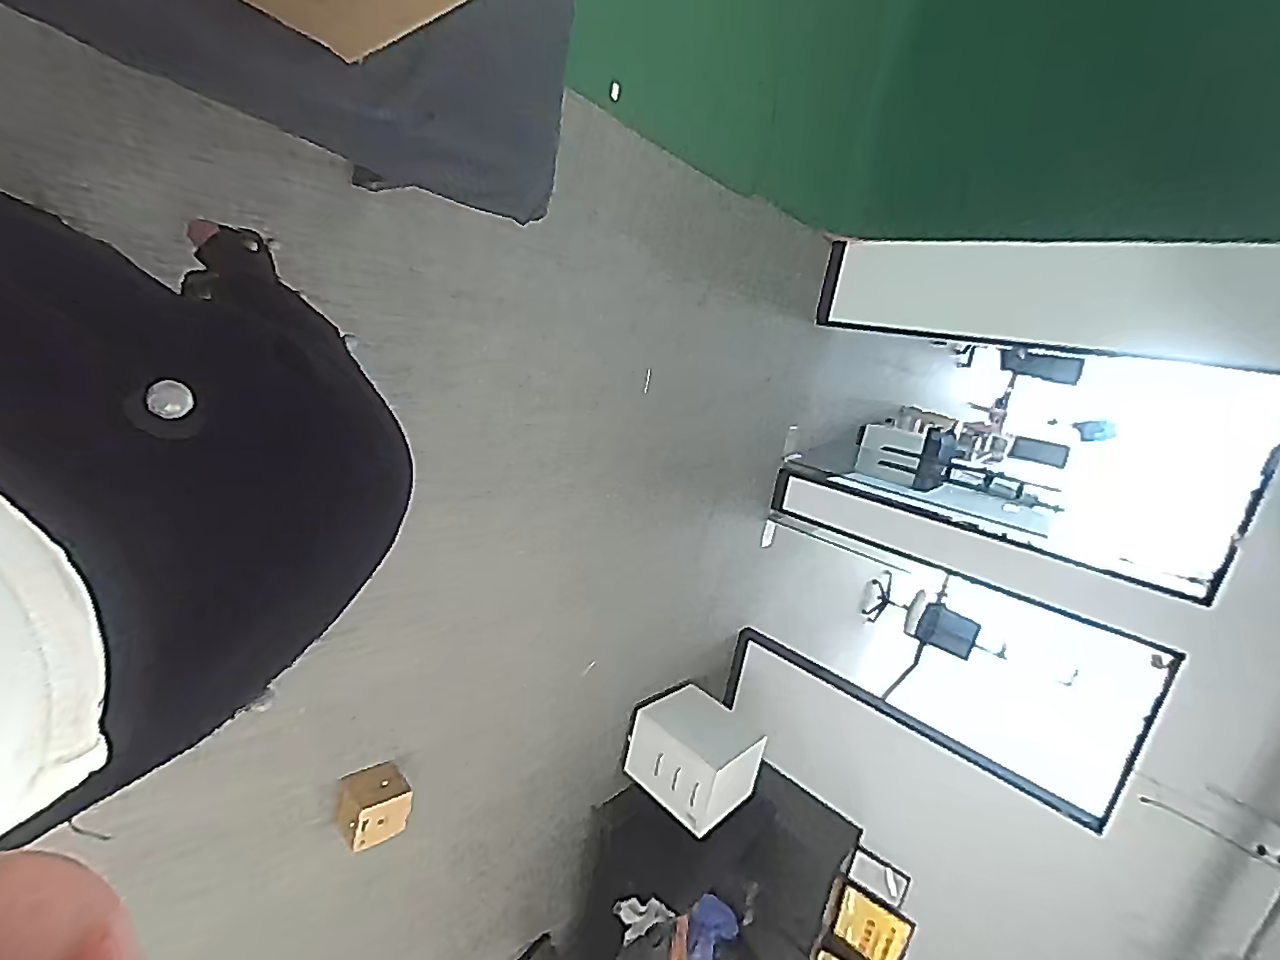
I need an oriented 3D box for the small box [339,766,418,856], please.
[{"bbox_3d":[-0.895,1.118,1.845,0.179,0.176,0.168,4,104,-50],"label":"small box"}]
